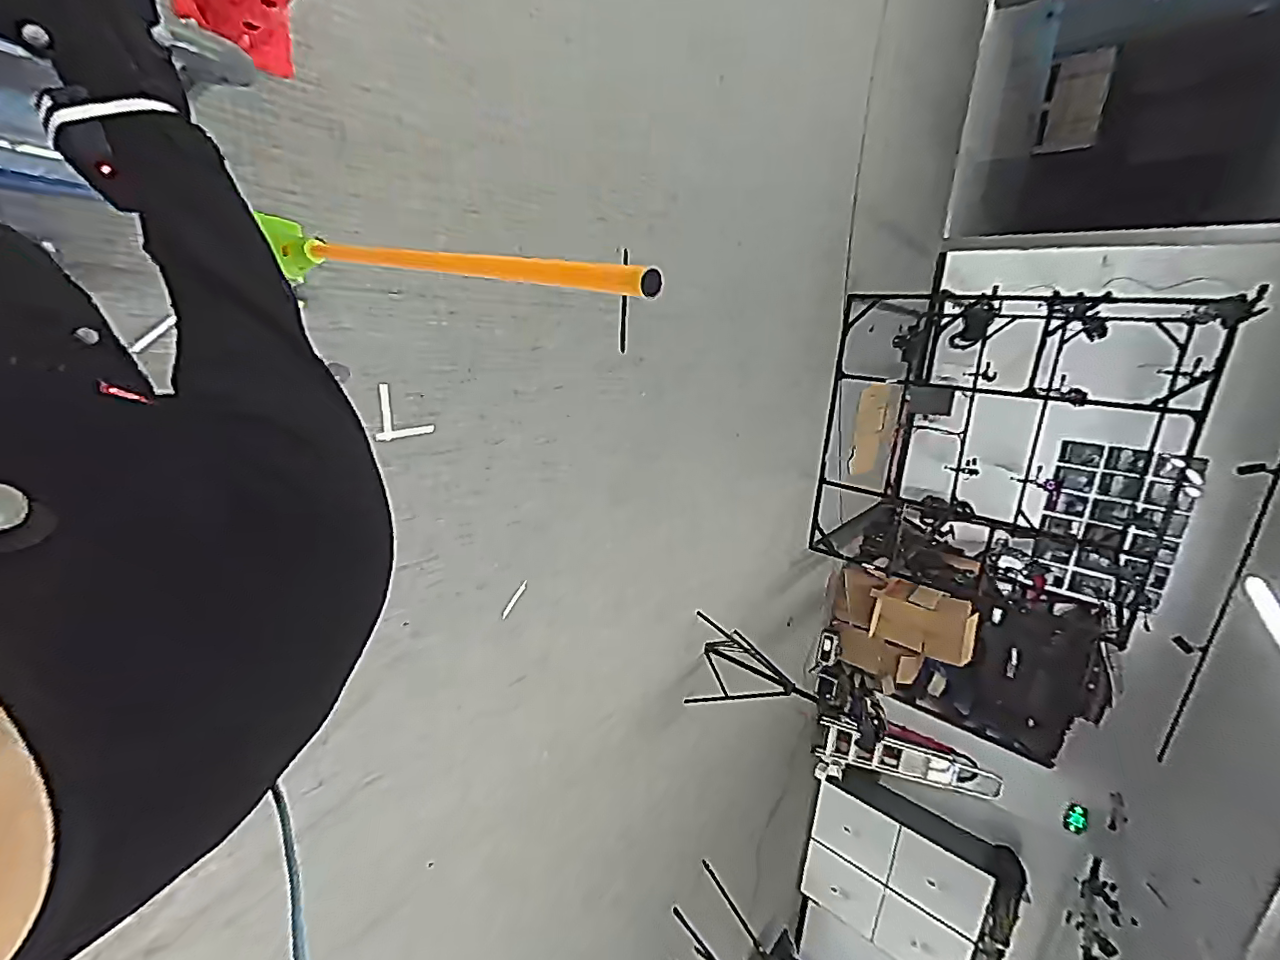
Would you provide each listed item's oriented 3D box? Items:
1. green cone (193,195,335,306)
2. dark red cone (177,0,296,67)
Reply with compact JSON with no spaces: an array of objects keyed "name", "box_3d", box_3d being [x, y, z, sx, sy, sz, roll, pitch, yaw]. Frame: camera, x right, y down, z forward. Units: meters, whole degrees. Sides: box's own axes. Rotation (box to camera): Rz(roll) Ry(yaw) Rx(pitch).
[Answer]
[{"name":"green cone","box_3d":[-0.726,-0.462,1.096,0.202,0.368,0.200,-10,111,-51]},{"name":"dark red cone","box_3d":[-0.669,-0.927,0.969,0.201,0.394,0.202,-16,116,-50]}]
